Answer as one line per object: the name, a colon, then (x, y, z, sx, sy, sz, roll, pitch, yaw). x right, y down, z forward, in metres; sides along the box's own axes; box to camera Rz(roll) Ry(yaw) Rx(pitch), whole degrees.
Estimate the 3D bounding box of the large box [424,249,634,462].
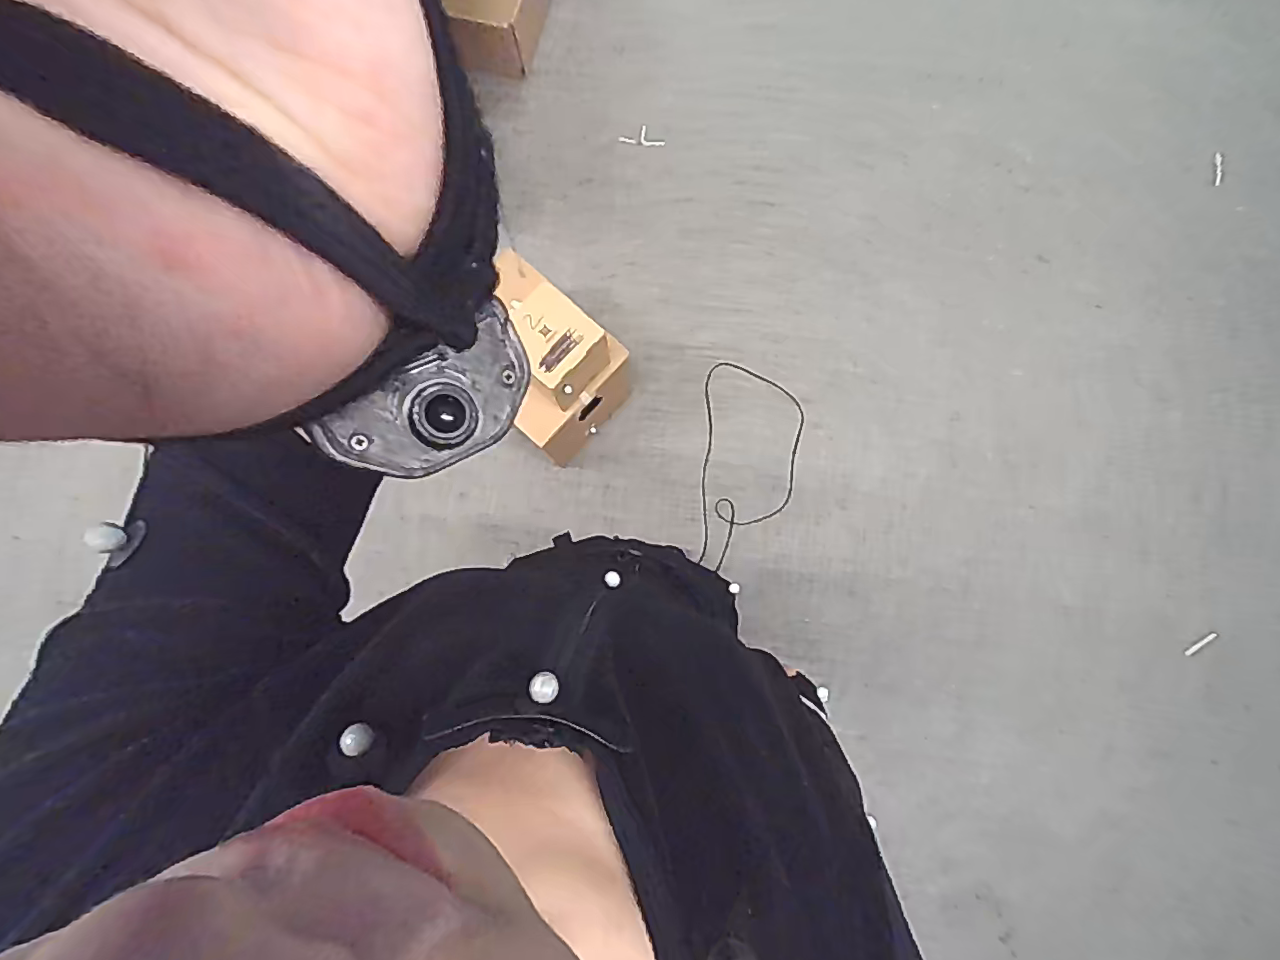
large box: (-0.264, -0.305, 1.429, 0.408, 0.320, 0.320, 42, 85, 6)
